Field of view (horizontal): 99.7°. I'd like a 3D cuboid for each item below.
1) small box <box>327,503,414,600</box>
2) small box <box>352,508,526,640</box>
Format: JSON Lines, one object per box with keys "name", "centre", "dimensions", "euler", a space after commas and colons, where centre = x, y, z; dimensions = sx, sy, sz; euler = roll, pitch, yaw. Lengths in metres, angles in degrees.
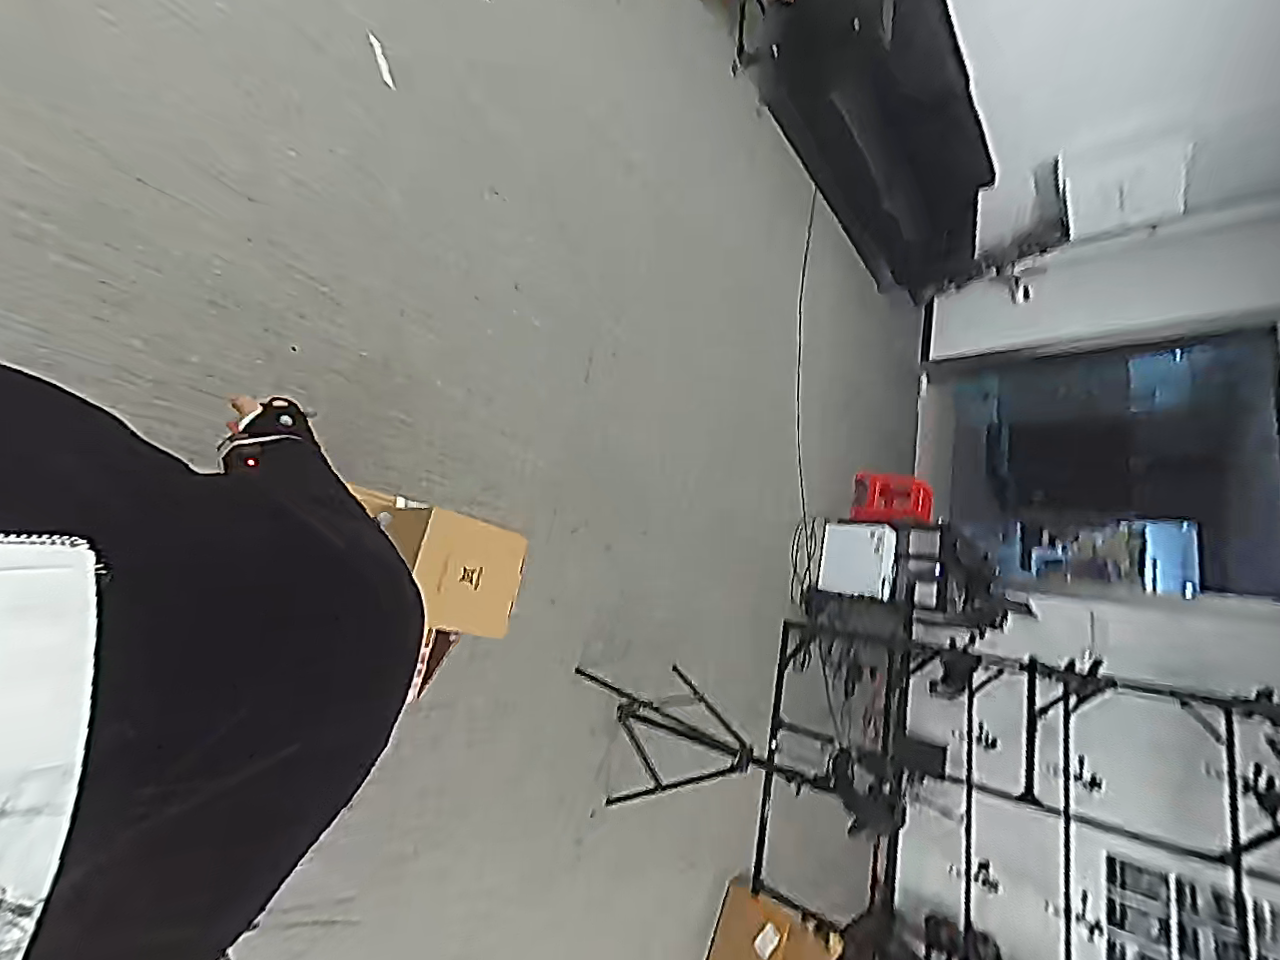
{"name": "small box", "centre": [-0.428, 0.147, 0.972], "dimensions": [0.179, 0.176, 0.168], "euler": [27, 68, -42]}
{"name": "small box", "centre": [-0.315, 0.147, 0.853], "dimensions": [0.179, 0.176, 0.168], "euler": [27, 67, -42]}
